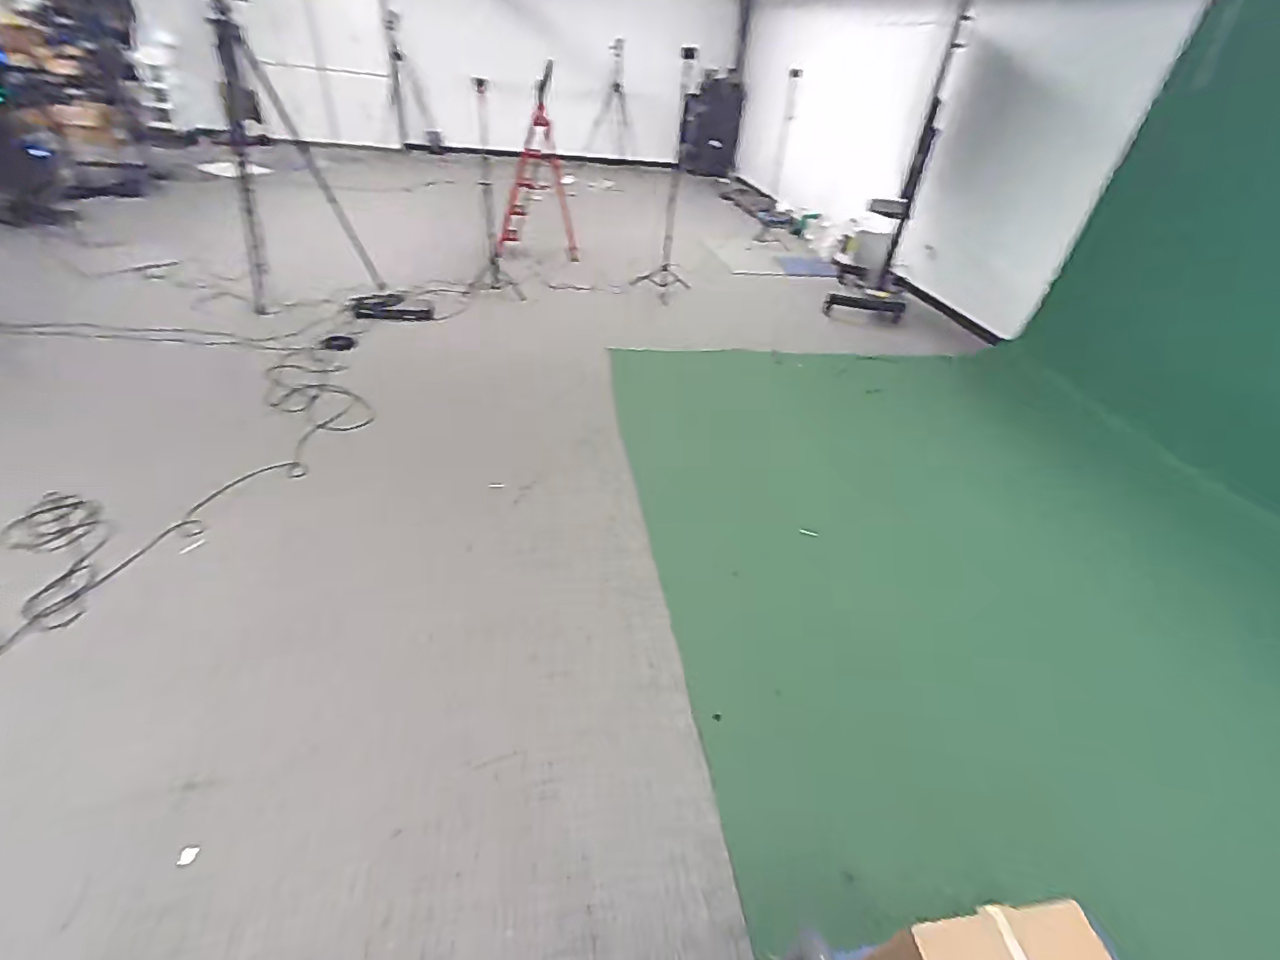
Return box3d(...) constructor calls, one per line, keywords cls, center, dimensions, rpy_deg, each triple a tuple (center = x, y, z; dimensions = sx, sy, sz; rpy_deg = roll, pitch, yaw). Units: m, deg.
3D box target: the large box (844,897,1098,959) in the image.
box3d(cls="large box", center=(0.586, 0.958, 0.849), dimensions=(0.320, 0.320, 0.408), rpy_deg=(-1, 40, -9))
